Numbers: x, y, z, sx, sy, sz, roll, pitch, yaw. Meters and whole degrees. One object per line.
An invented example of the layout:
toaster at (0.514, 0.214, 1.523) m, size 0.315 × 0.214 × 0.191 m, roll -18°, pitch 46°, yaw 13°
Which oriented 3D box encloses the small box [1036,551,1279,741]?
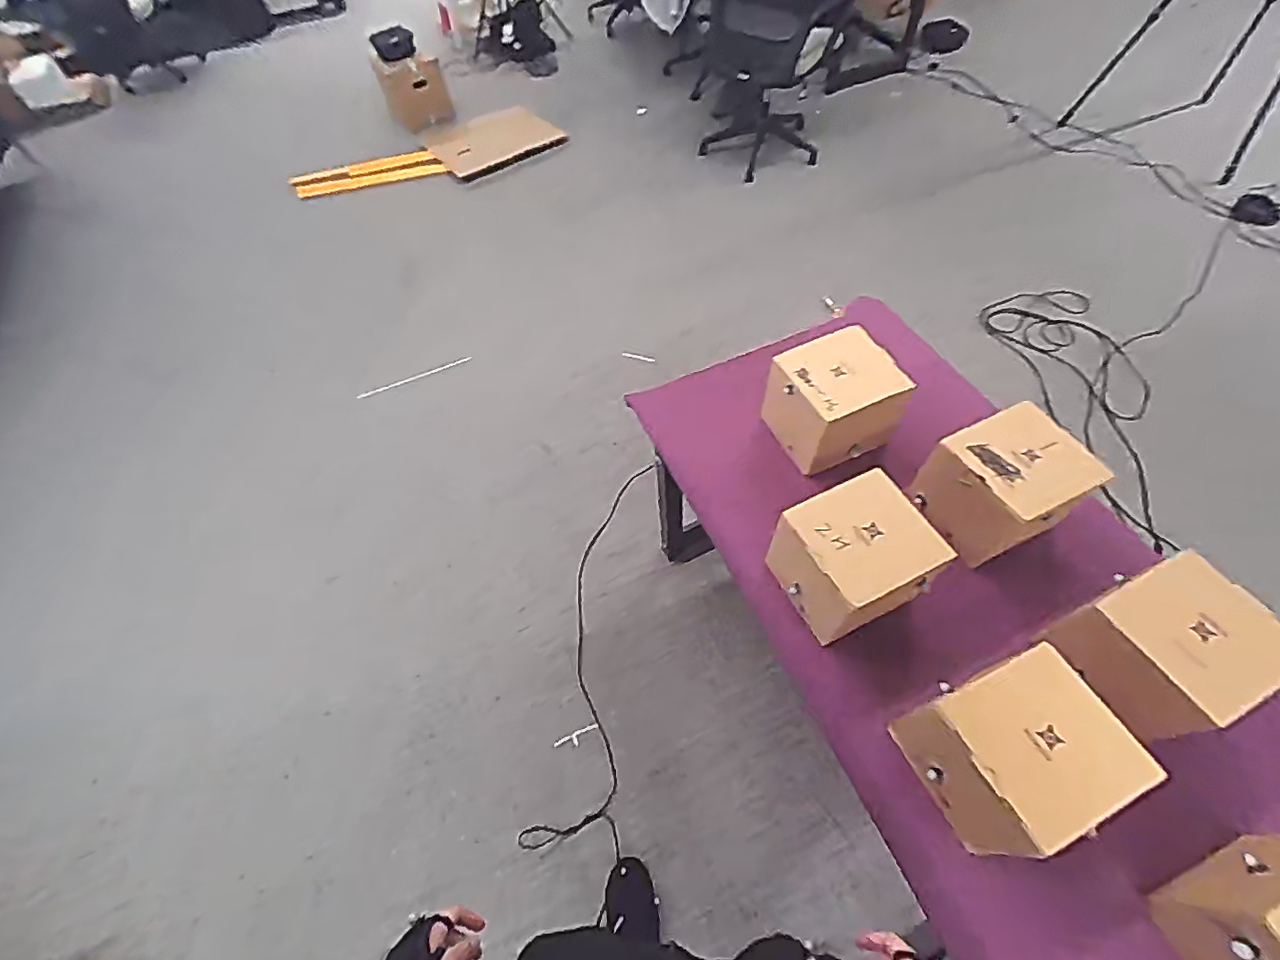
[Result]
small box at (0.699, 0.229, 0.732) m, size 0.179 × 0.176 × 0.168 m, roll -24°, pitch 58°, yaw -10°

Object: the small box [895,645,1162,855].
small box at (0.463, 0.336, 0.679) m, size 0.179 × 0.176 × 0.168 m, roll -23°, pitch 59°, yaw -11°

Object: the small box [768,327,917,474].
small box at (0.354, -0.141, 0.984) m, size 0.179 × 0.176 × 0.168 m, roll -21°, pitch 57°, yaw -10°

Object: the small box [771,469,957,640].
small box at (0.324, 0.118, 0.823) m, size 0.179 × 0.176 × 0.168 m, roll -23°, pitch 59°, yaw -11°

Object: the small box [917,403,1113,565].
small box at (0.583, 0.012, 0.876) m, size 0.179 × 0.176 × 0.168 m, roll -23°, pitch 59°, yaw -11°
